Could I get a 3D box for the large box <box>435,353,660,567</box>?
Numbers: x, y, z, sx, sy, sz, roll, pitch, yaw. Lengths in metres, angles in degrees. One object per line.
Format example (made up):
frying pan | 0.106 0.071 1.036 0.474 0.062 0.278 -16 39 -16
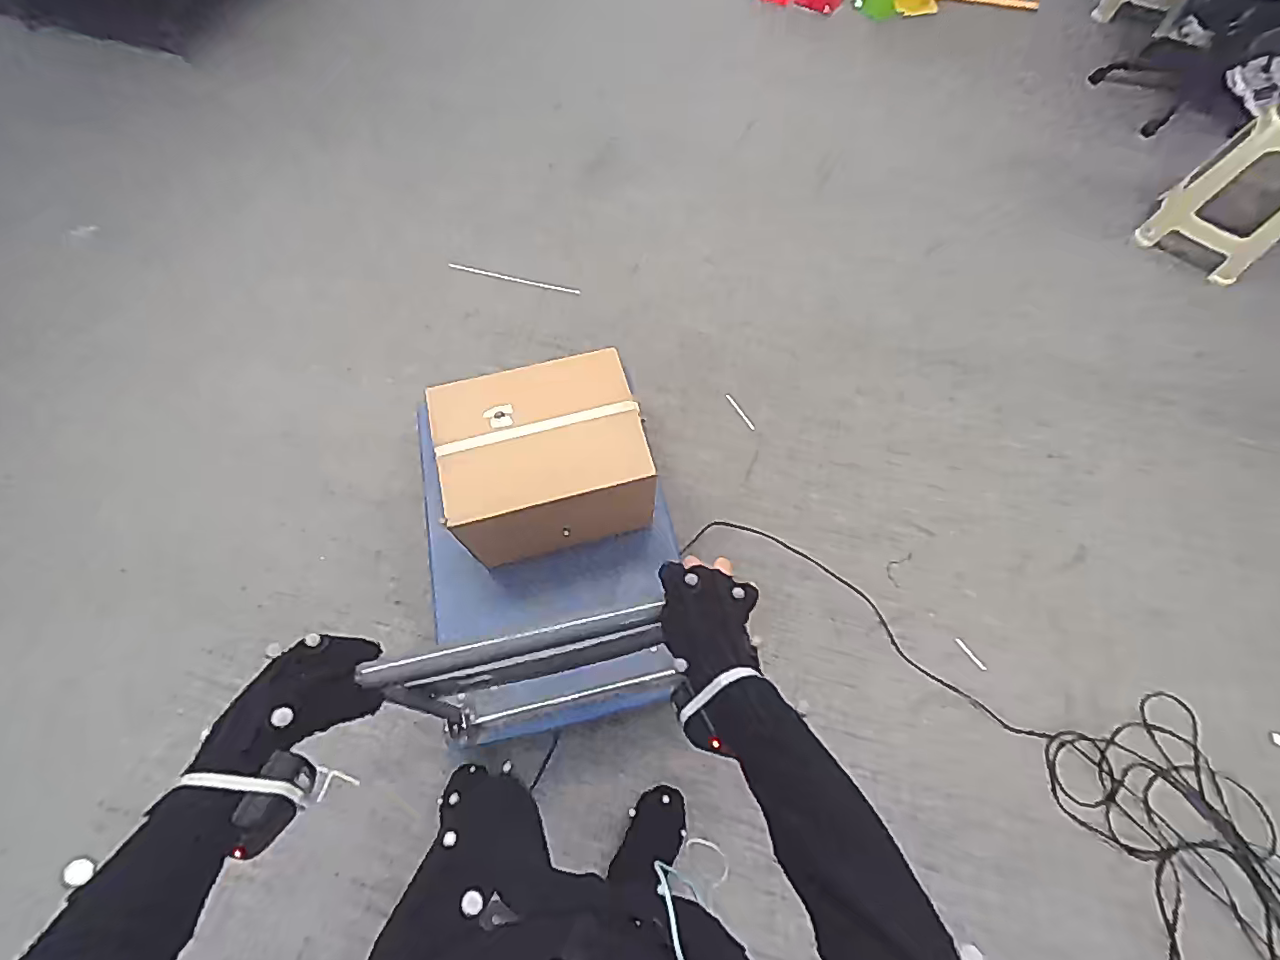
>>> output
large box | -0.192 -0.031 1.215 0.408 0.320 0.320 -14 67 -7
